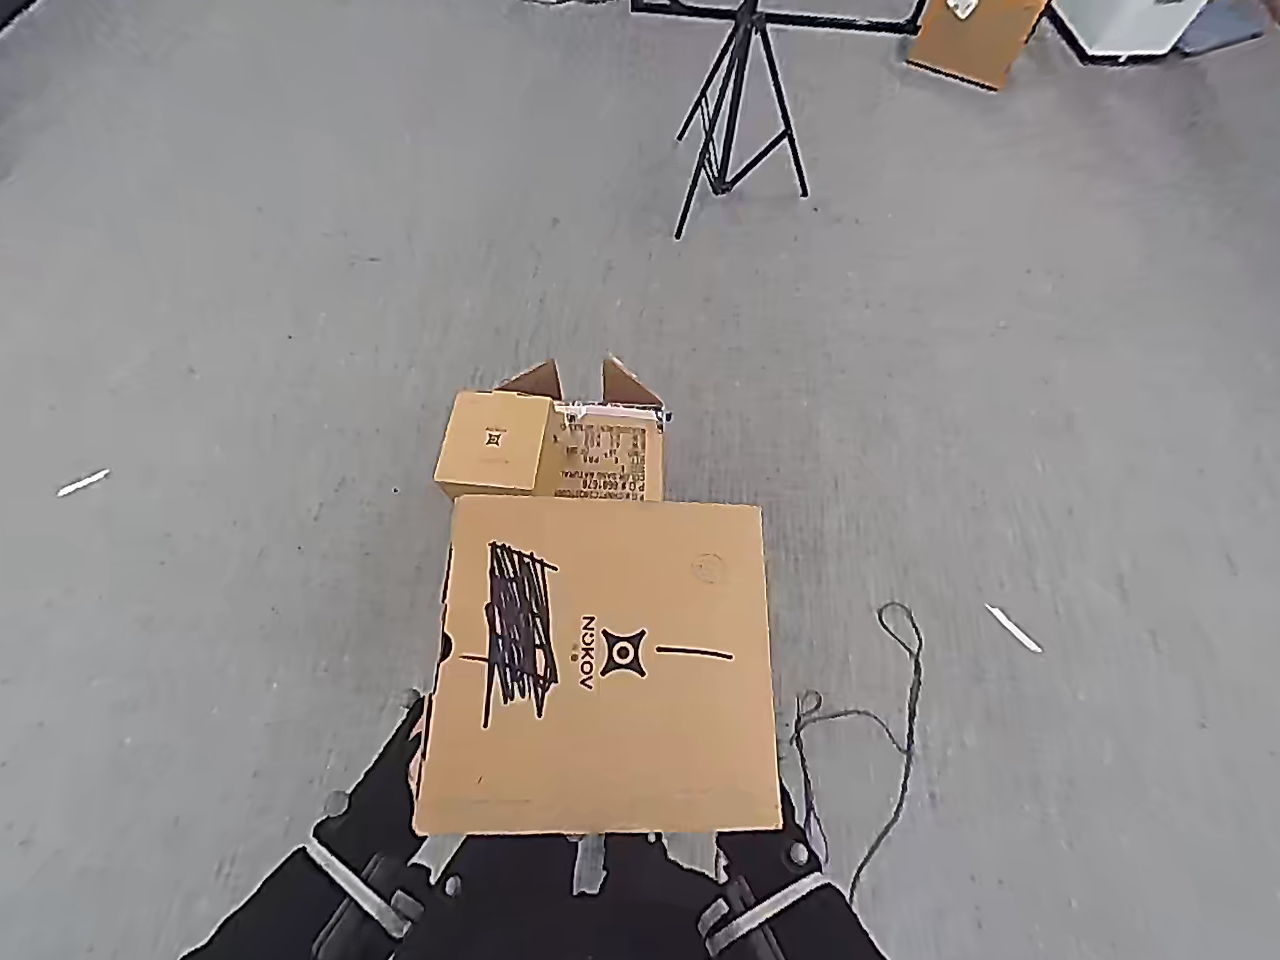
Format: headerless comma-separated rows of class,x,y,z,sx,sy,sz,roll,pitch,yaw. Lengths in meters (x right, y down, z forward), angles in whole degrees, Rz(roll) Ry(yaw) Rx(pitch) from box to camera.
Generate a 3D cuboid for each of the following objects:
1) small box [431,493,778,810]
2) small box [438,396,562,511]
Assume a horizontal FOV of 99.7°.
small box,-0.021,0.114,0.369,0.179,0.176,0.168,2,70,-5
small box,-0.239,-0.029,0.976,0.168,0.176,0.179,4,68,3
